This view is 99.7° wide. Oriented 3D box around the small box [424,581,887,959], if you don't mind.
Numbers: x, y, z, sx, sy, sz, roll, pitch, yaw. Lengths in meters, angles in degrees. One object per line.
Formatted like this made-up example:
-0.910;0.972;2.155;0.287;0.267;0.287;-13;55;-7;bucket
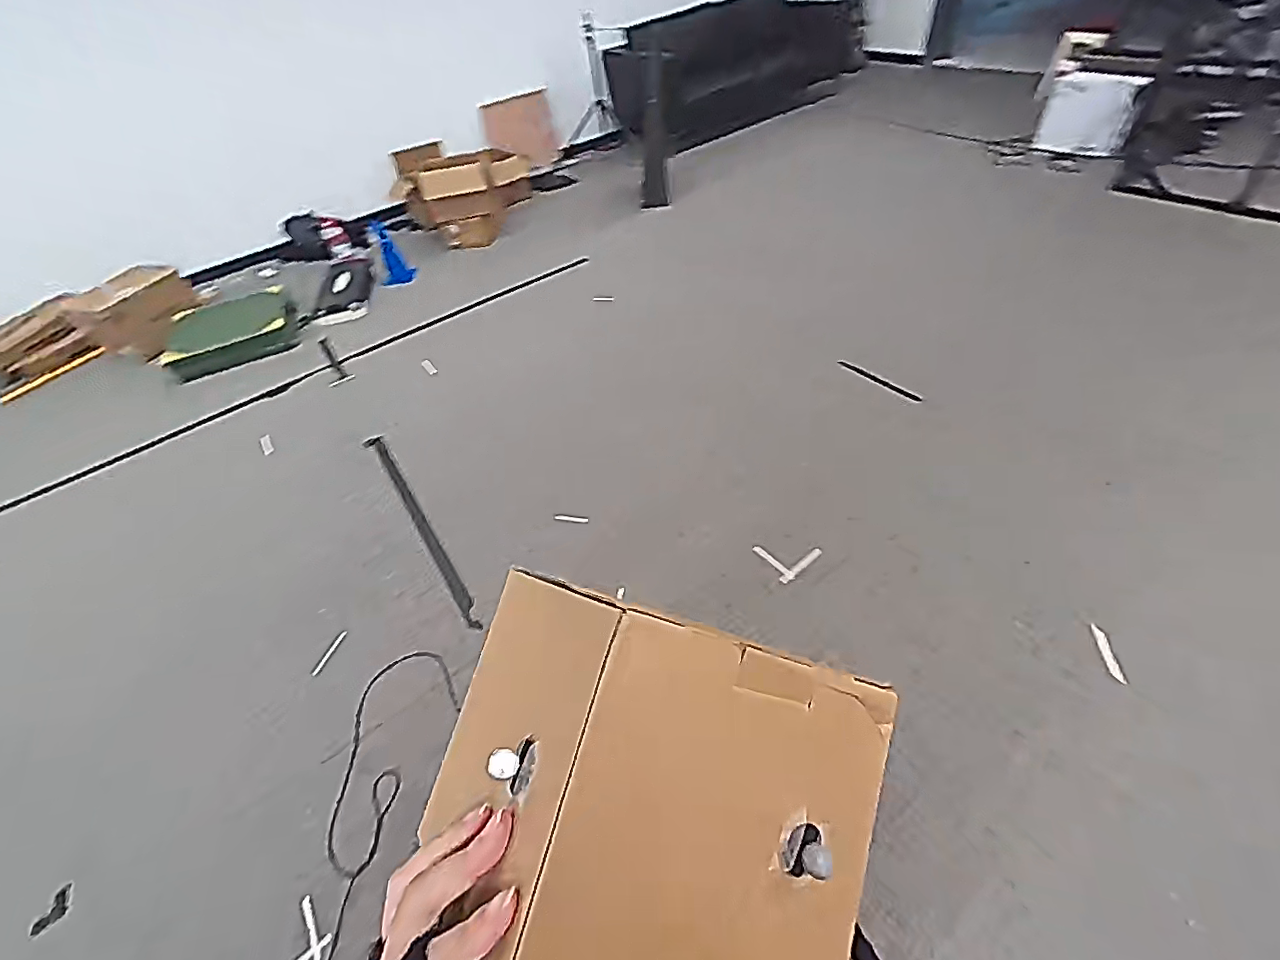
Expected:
-0.003;0.167;0.298;0.168;0.179;0.176;23;76;-24;small box
